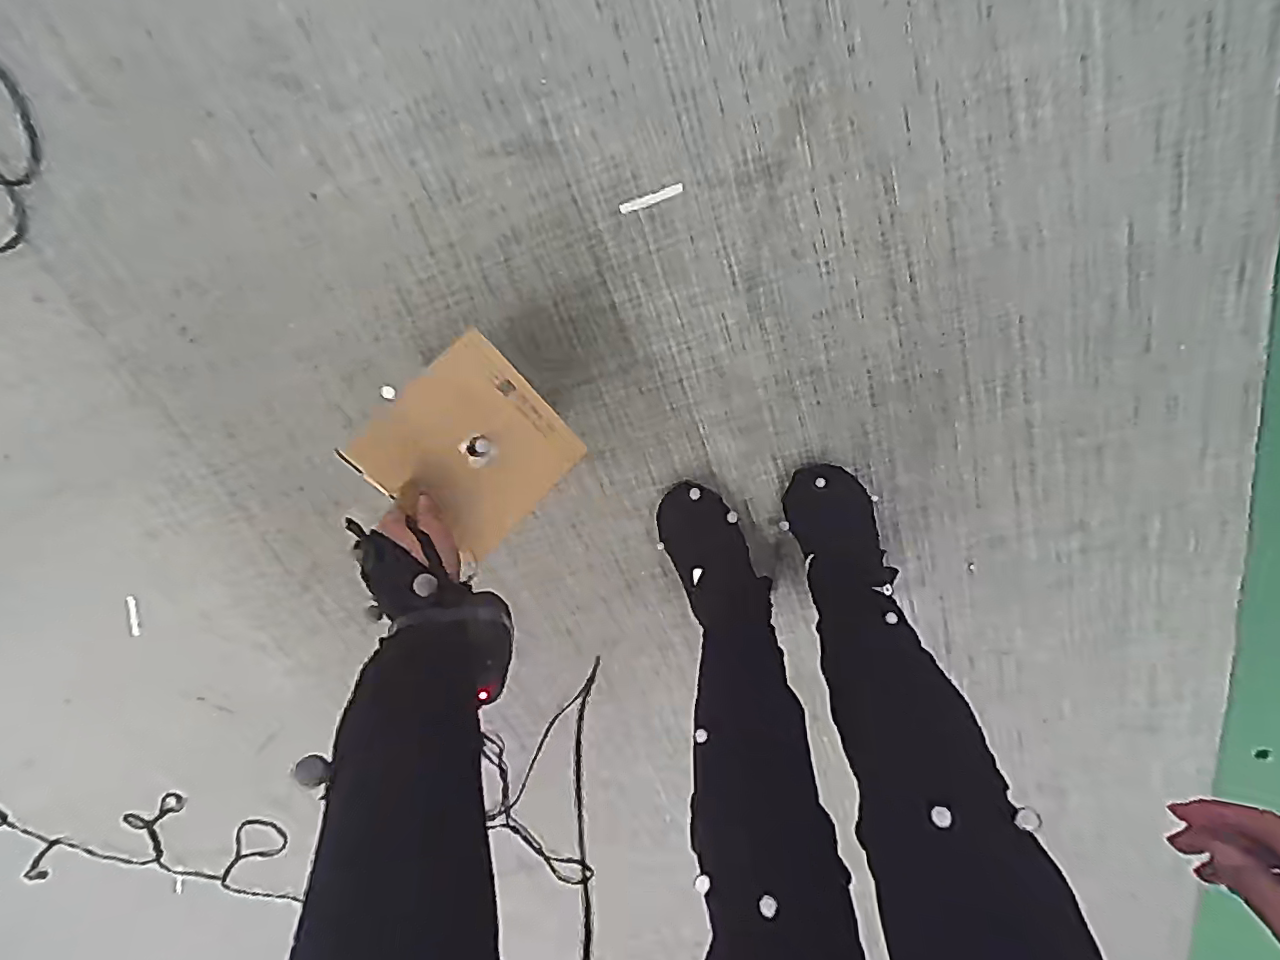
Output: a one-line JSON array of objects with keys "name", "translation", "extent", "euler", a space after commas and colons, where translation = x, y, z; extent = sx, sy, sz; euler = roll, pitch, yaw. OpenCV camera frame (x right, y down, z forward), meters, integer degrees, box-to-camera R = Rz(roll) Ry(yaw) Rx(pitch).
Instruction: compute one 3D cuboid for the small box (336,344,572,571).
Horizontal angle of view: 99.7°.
[{"name": "small box", "translation": [-0.200, -0.031, 0.594], "extent": [0.176, 0.179, 0.168], "euler": [-49, 115, -14]}]
